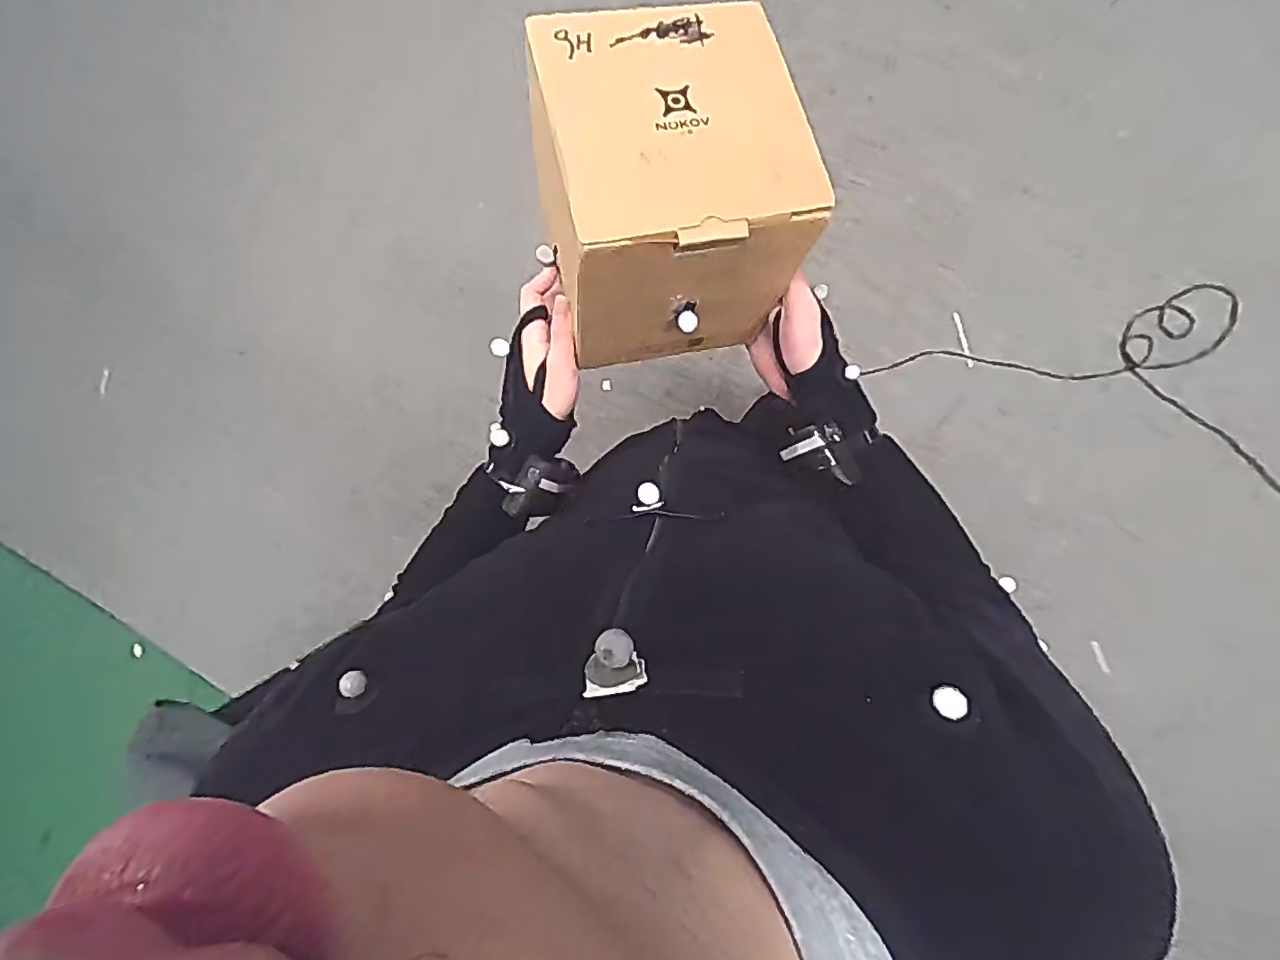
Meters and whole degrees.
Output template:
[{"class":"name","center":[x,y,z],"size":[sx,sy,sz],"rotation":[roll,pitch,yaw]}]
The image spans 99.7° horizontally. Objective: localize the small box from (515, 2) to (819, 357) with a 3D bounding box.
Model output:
[{"class":"small box","center":[0.007,-0.208,0.416],"size":[0.168,0.176,0.179],"rotation":[-11,79,-10]}]
